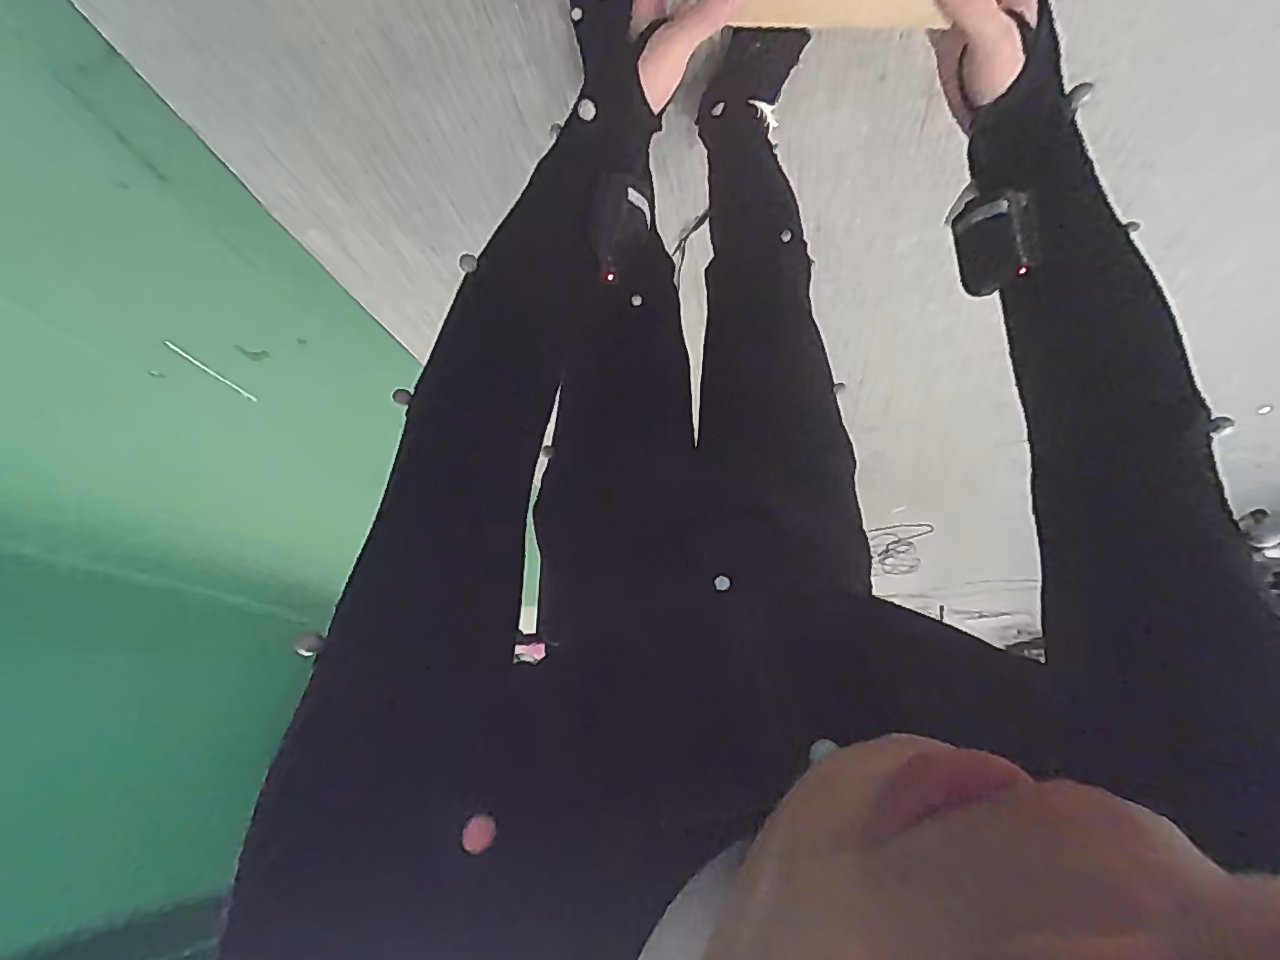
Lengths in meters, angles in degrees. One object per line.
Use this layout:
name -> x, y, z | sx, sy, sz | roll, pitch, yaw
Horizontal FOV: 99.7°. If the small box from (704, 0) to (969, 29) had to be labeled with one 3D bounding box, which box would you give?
small box -> 0.133, -0.422, 0.343 | 0.179, 0.176, 0.168 | 1, 149, 0
